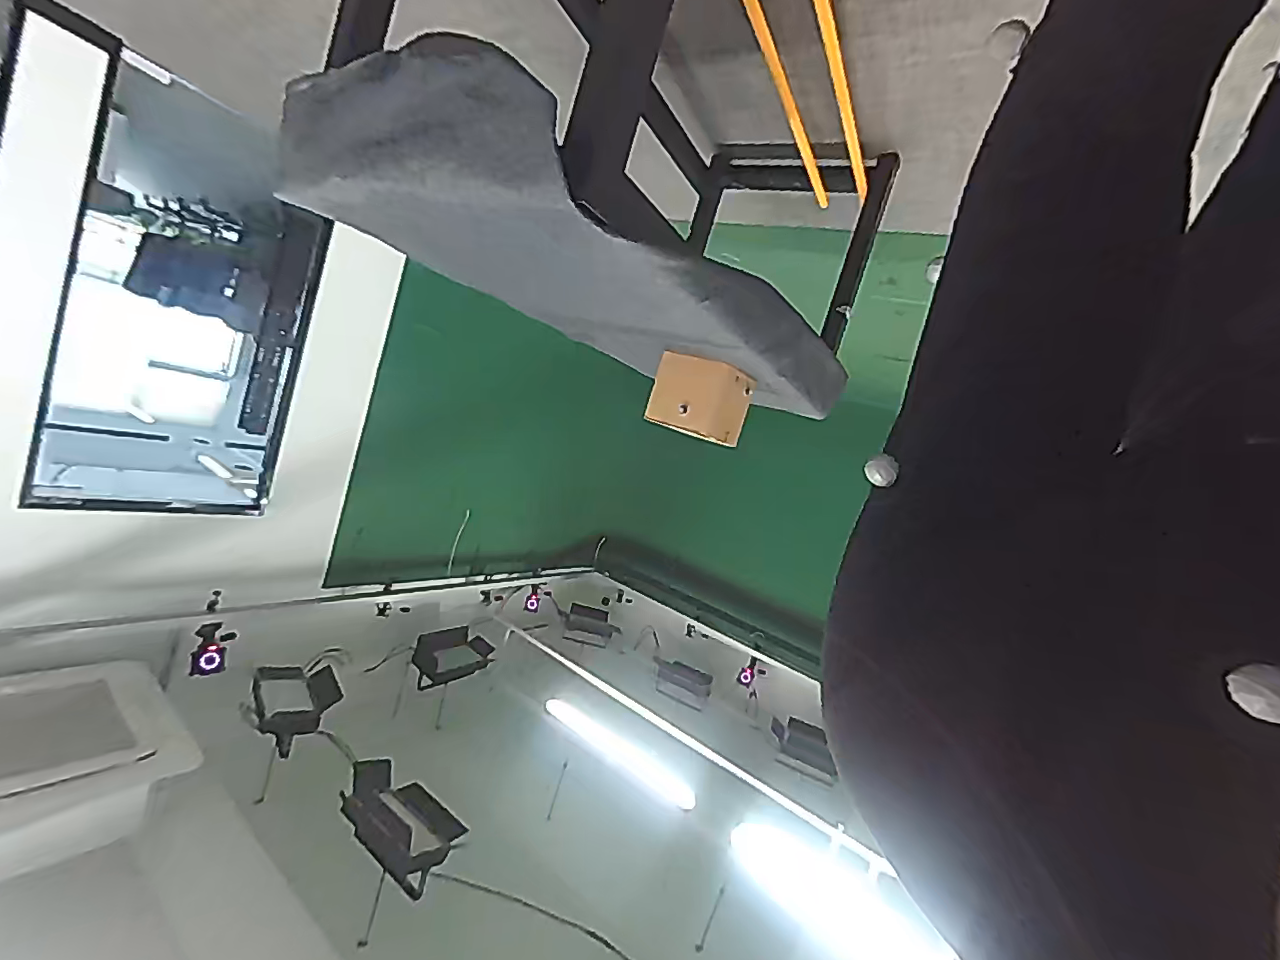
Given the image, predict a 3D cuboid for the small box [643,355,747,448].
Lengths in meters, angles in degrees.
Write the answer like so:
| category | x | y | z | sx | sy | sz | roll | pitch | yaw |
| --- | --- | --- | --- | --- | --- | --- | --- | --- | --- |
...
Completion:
| category | x | y | z | sx | sy | sz | roll | pitch | yaw |
| --- | --- | --- | --- | --- | --- | --- | --- | --- | --- |
| small box | 0.138 | -0.189 | 1.289 | 0.179 | 0.176 | 0.168 | 22 | -175 | 33 |
